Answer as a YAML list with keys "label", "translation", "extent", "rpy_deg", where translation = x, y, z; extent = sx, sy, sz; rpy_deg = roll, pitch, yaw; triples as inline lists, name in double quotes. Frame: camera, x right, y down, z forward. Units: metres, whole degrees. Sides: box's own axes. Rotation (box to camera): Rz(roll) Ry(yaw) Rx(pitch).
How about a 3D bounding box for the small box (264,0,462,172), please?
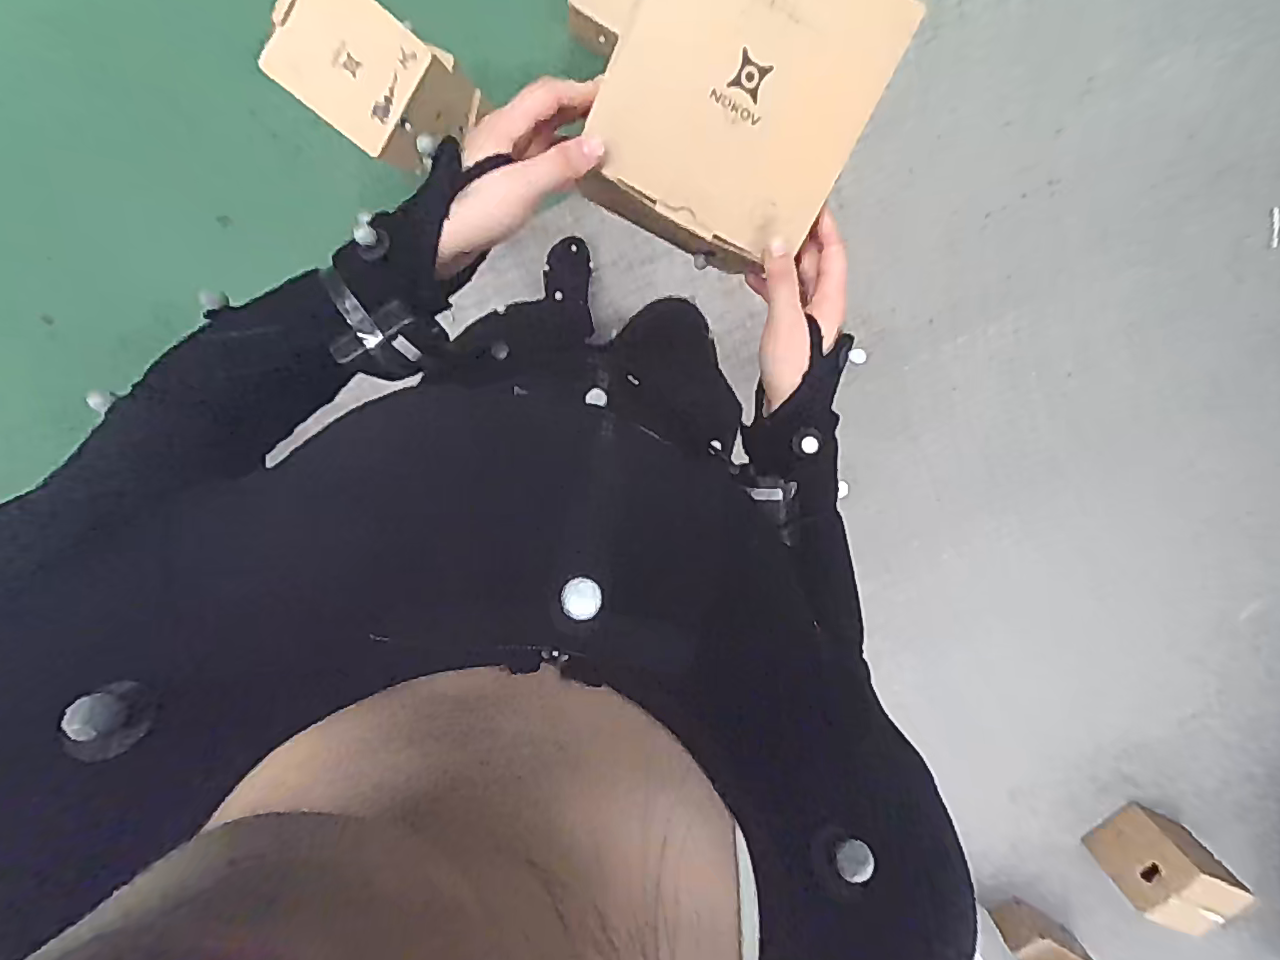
- label: "small box"
  translation: [-0.396, -0.591, 0.804]
  extent: [0.179, 0.176, 0.168]
  rpy_deg: [35, 107, -18]

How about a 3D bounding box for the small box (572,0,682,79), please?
- label: "small box"
  translation: [-0.021, -0.925, 1.051]
  extent: [0.179, 0.176, 0.168]
  rpy_deg: [22, 110, -15]

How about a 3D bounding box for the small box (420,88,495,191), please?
- label: "small box"
  translation: [-0.411, -0.712, 1.109]
  extent: [0.179, 0.176, 0.168]
  rpy_deg: [17, 110, -12]
